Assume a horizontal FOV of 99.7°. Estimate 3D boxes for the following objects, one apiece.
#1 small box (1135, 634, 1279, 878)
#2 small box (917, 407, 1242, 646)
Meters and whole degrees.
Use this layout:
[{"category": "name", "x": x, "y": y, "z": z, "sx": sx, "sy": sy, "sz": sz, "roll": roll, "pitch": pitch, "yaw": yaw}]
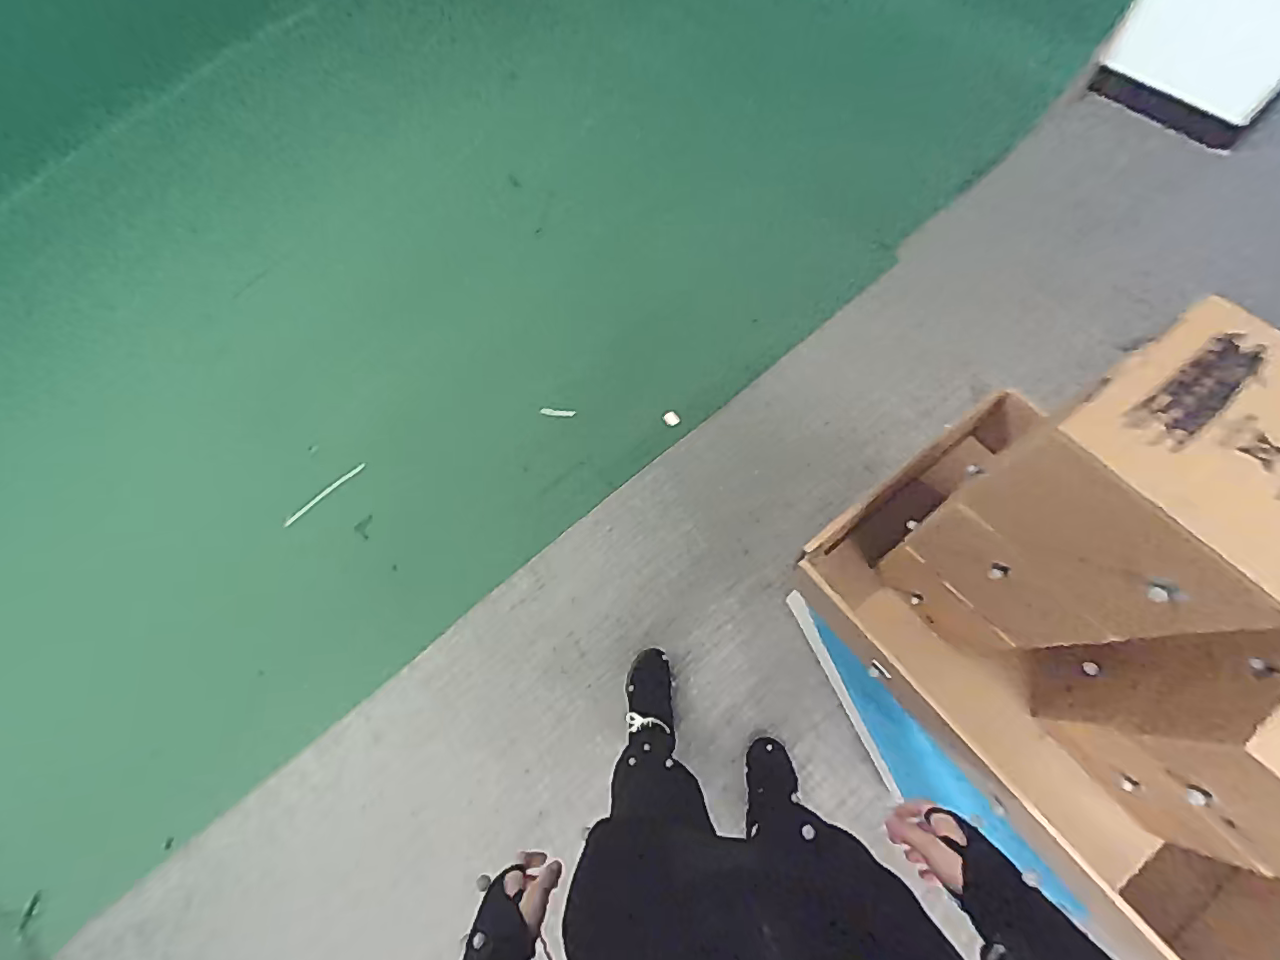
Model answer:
[{"category": "small box", "x": 0.619, "y": 0.249, "z": 0.485, "sx": 0.179, "sy": 0.176, "sz": 0.168, "roll": -39, "pitch": 67, "yaw": -6}, {"category": "small box", "x": 0.442, "y": 0.061, "z": 0.584, "sx": 0.168, "sy": 0.176, "sz": 0.179, "roll": -39, "pitch": 70, "yaw": -6}]
